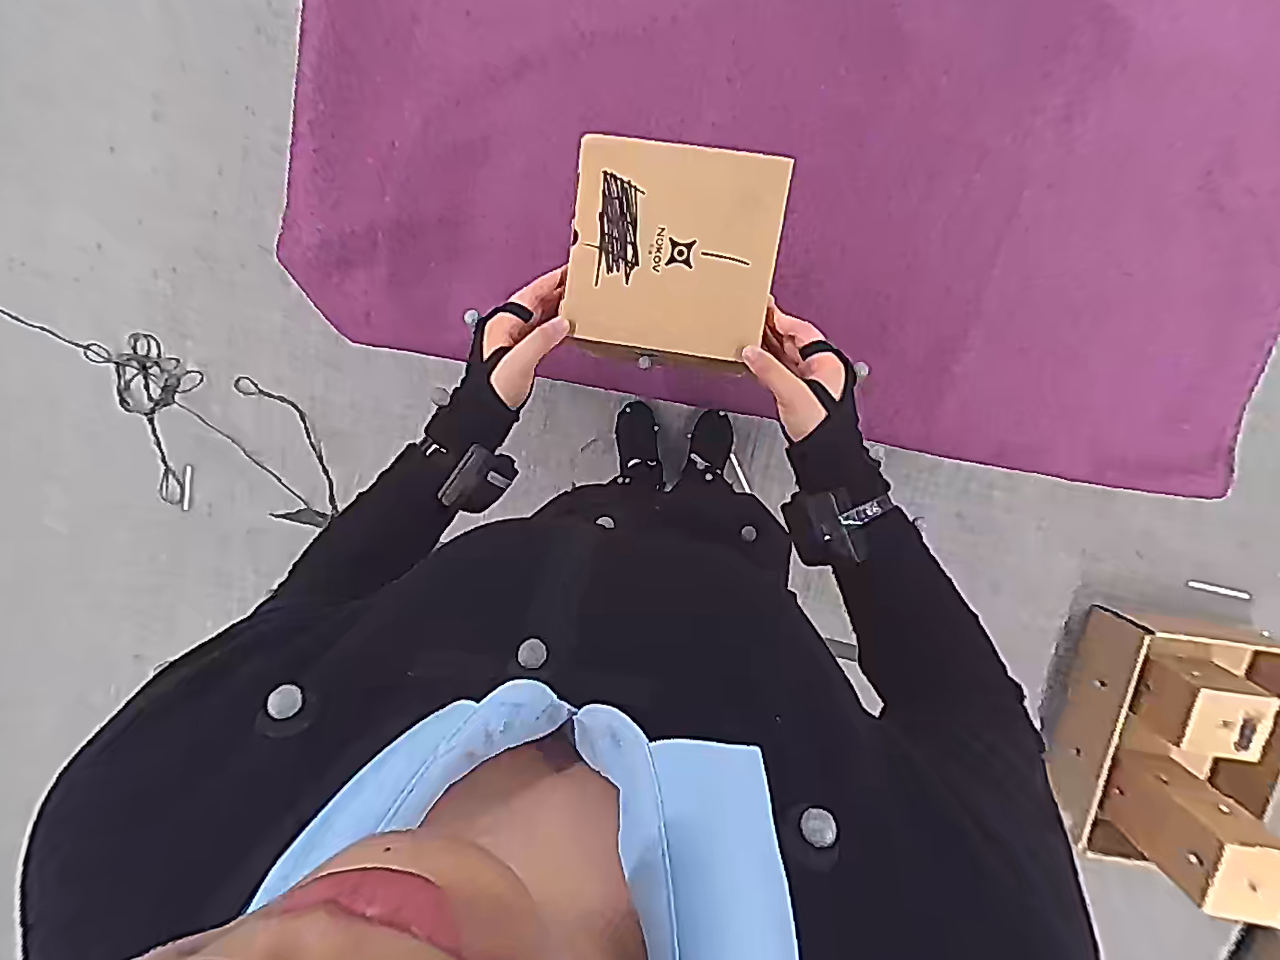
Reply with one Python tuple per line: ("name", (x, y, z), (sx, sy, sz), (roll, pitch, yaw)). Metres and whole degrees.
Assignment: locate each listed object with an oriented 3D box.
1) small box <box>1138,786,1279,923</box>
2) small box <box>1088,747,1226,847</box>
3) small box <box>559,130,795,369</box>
("small box", (1.297, 0.842, 1.228), (0.168, 0.176, 0.179), (9, 99, 3))
("small box", (1.312, 0.818, 1.389), (0.179, 0.176, 0.168), (9, 101, 2))
("small box", (0.034, -0.205, 0.528), (0.179, 0.176, 0.168), (10, 99, 3))
